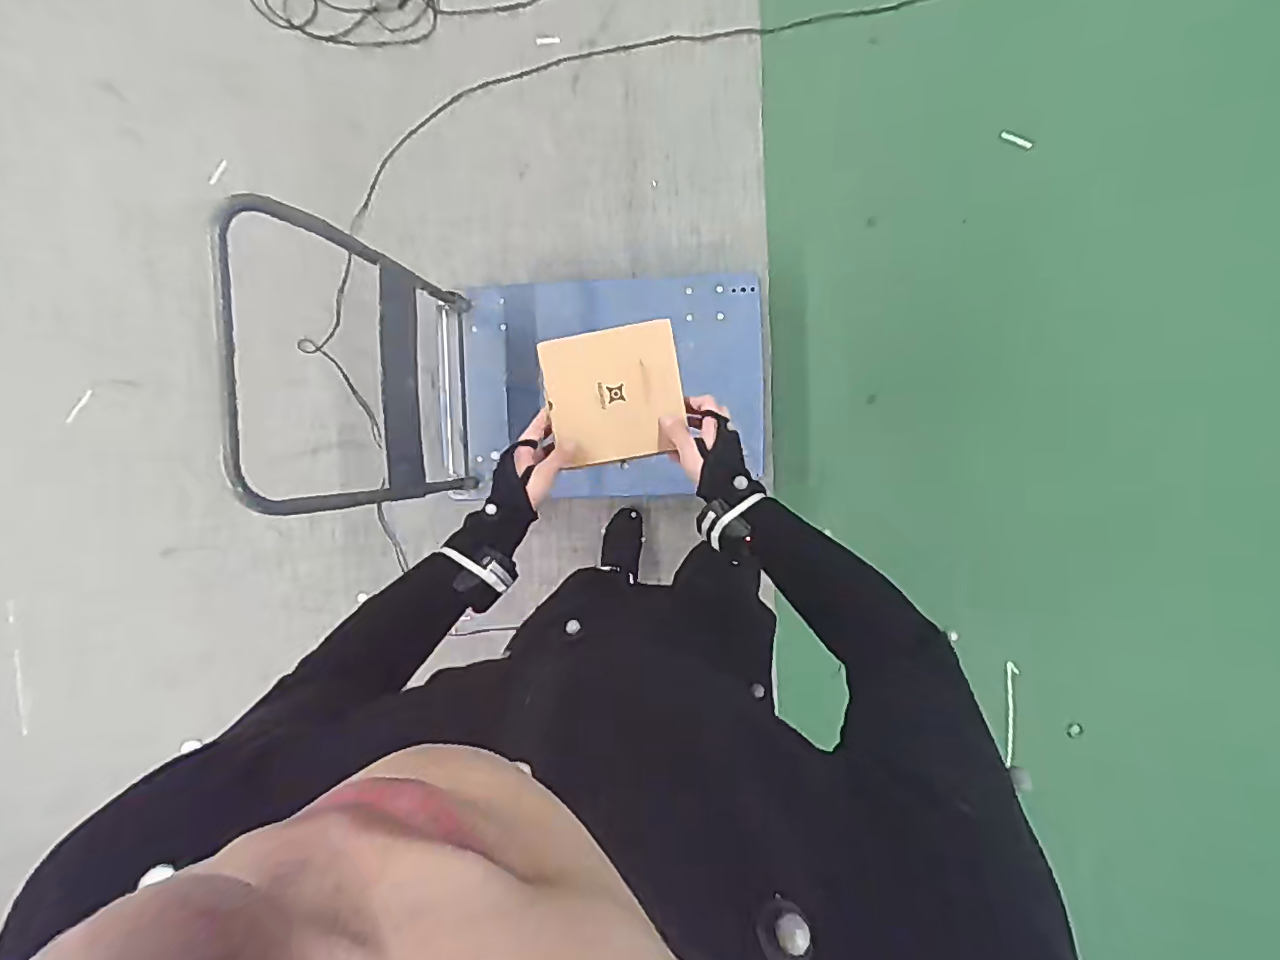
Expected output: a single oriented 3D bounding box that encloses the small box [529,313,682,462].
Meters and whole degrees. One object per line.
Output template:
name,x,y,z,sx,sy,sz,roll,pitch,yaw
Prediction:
small box,-0.038,-0.116,0.749,0.179,0.176,0.168,-8,92,4
